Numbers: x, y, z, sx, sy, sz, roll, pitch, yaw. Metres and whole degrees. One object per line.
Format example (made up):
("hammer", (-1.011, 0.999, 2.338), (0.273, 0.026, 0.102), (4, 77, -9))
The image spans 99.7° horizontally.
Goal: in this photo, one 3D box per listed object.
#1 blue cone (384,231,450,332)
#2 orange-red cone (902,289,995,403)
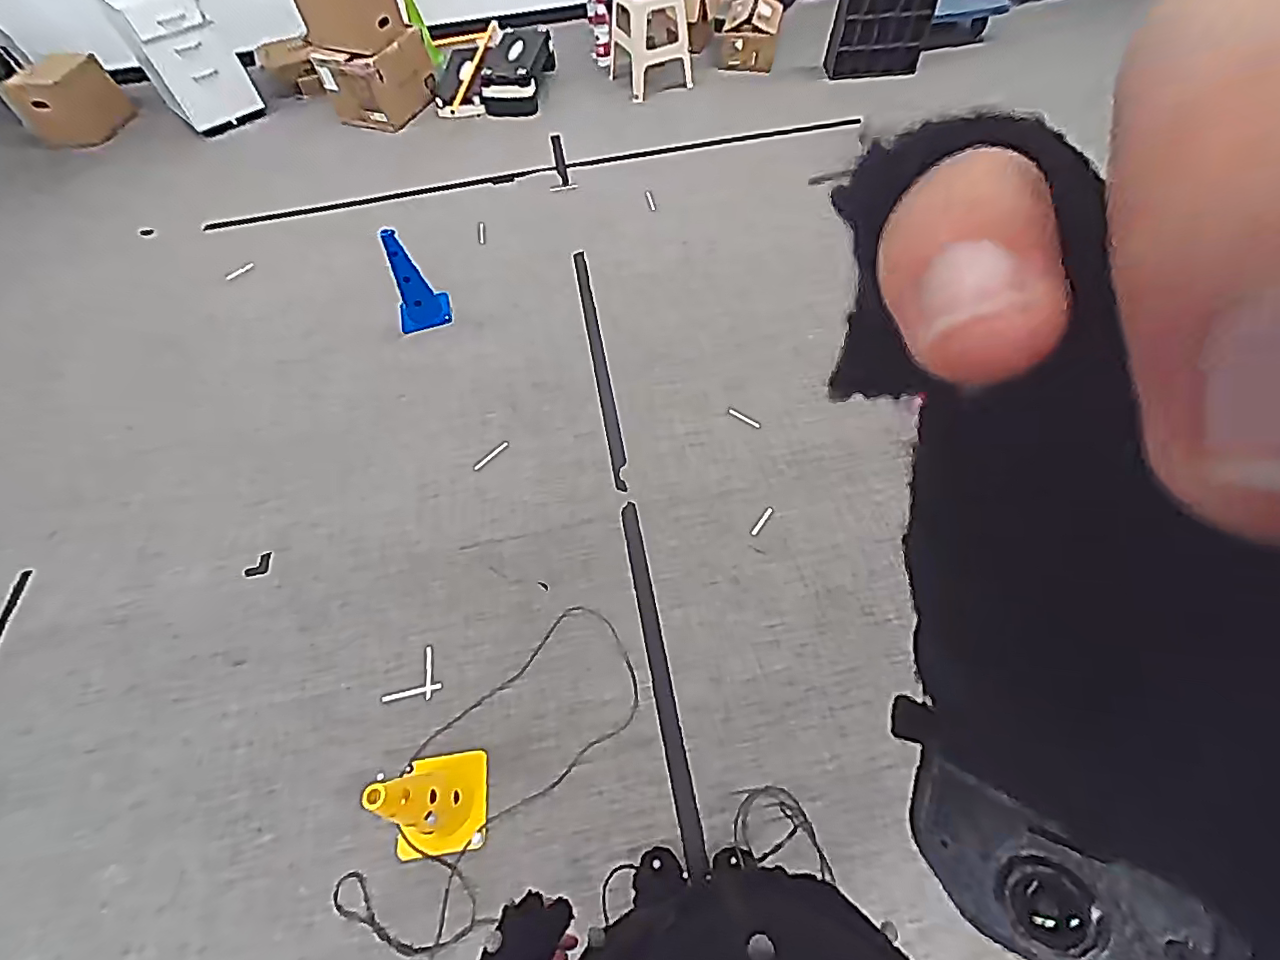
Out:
("blue cone", (-0.884, -0.765, 2.057), (0.192, 0.380, 0.193), (-16, 58, -6))
("orange-red cone", (1.016, -0.445, 1.709), (0.198, 0.360, 0.199), (-15, 56, -6))
